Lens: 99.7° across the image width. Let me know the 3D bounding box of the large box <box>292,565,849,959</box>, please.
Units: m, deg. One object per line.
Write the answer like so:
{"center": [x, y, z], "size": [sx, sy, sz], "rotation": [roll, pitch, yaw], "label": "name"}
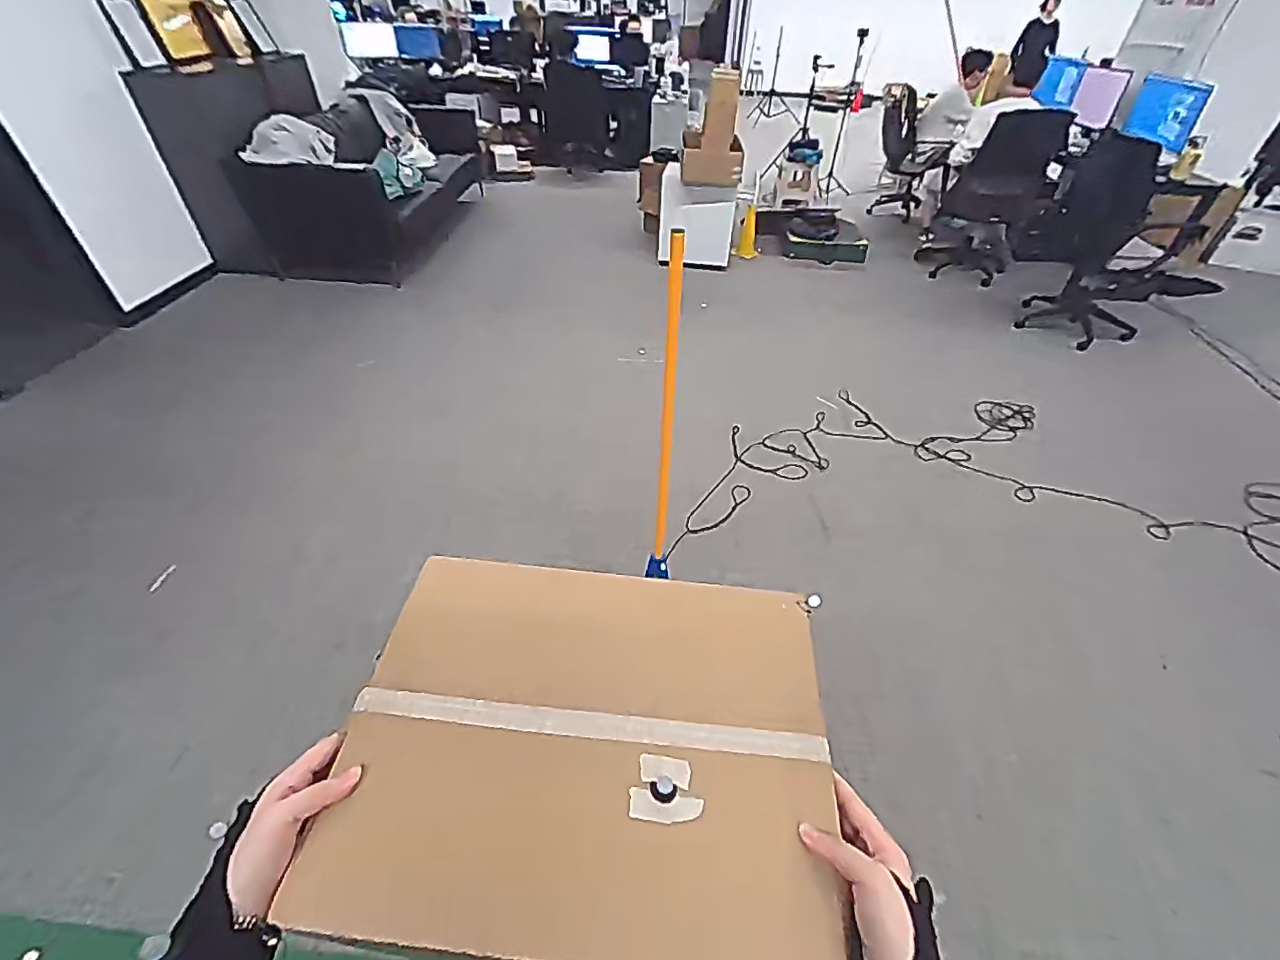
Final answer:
{"center": [-0.049, 0.322, 0.586], "size": [0.408, 0.320, 0.320], "rotation": [6, 46, 1], "label": "large box"}
